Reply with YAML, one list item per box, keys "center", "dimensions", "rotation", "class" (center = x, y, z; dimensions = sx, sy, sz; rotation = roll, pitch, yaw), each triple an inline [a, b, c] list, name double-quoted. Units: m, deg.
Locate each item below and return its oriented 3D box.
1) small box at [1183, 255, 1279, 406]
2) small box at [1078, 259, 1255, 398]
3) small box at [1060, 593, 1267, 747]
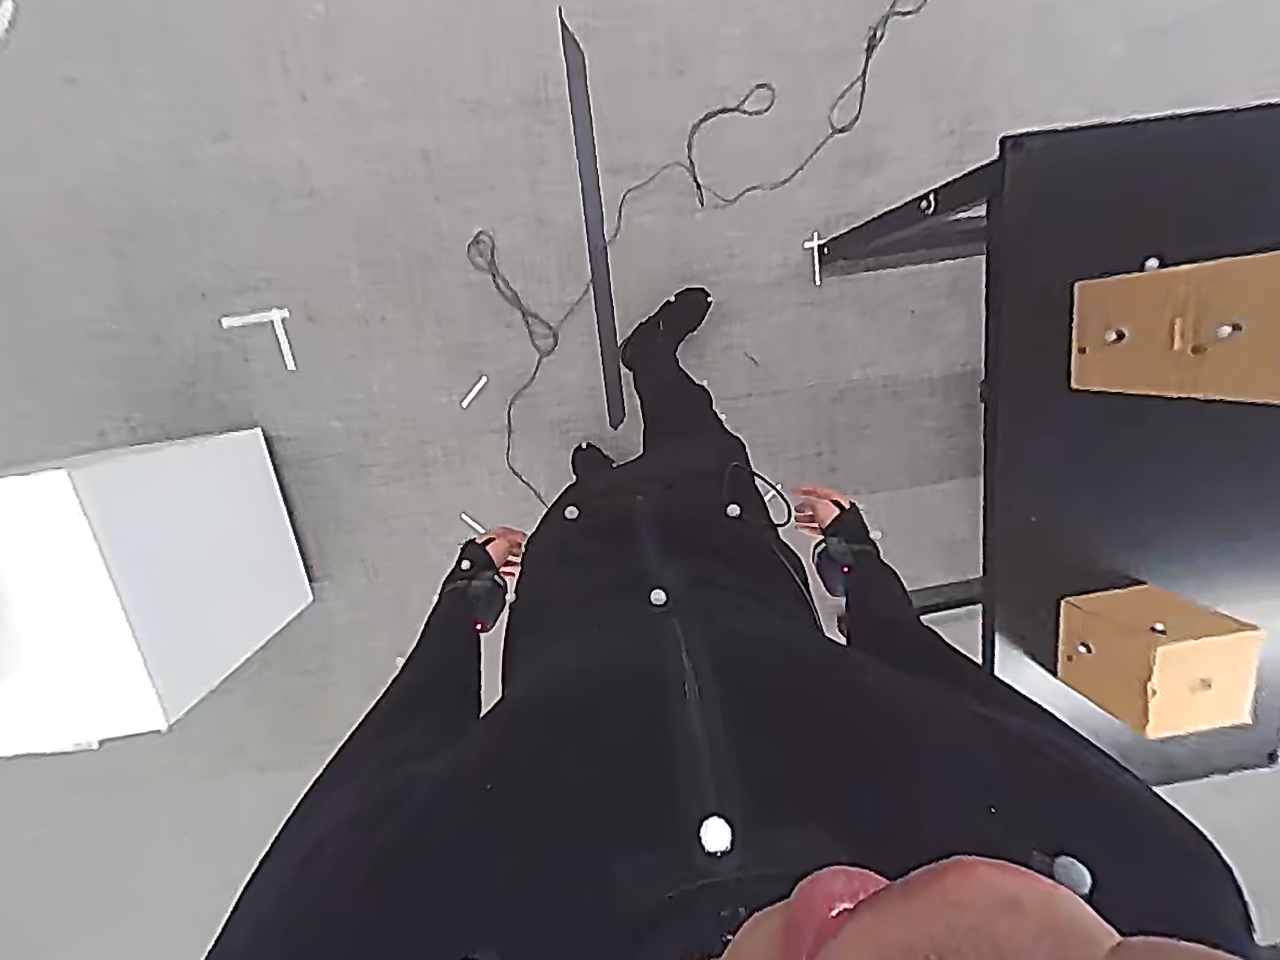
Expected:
- center: [0.791, -0.178, 0.614]
  dimensions: [0.179, 0.176, 0.168]
  rotation: [-9, 103, -3]
  class: "small box"
- center: [0.775, -0.214, 0.774]
  dimensions: [0.179, 0.176, 0.168]
  rotation: [-10, 103, -2]
  class: "small box"
- center: [0.852, 0.303, 0.896]
  dimensions: [0.179, 0.176, 0.168]
  rotation: [-9, 103, -3]
  class: "small box"
